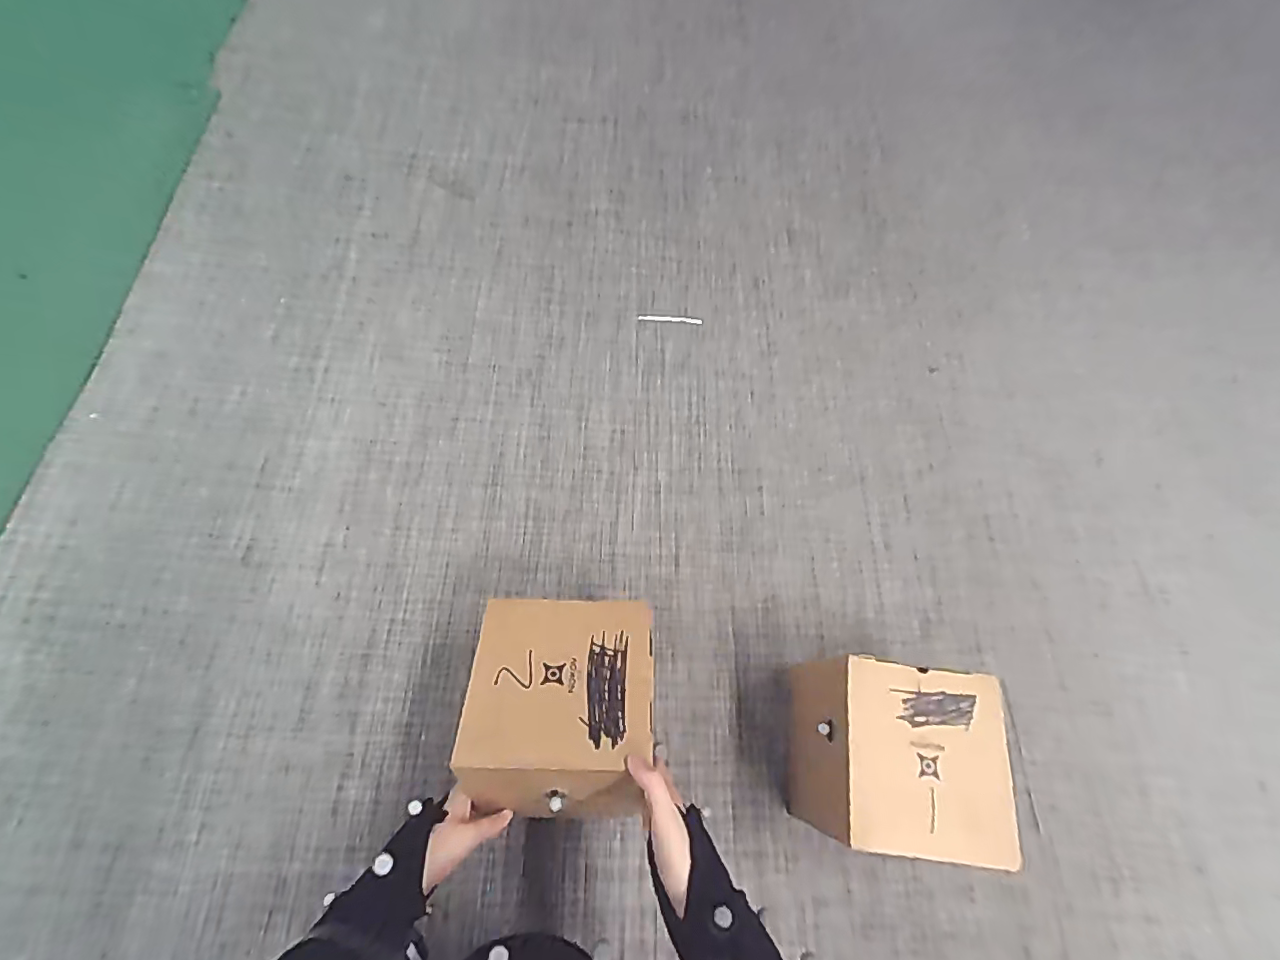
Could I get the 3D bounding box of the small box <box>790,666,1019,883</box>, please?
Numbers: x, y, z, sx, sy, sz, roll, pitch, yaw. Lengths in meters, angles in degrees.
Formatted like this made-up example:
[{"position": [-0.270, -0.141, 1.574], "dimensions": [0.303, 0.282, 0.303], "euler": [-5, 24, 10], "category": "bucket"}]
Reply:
[{"position": [0.275, 0.317, 0.606], "dimensions": [0.168, 0.176, 0.179], "euler": [8, 66, -2], "category": "small box"}]
